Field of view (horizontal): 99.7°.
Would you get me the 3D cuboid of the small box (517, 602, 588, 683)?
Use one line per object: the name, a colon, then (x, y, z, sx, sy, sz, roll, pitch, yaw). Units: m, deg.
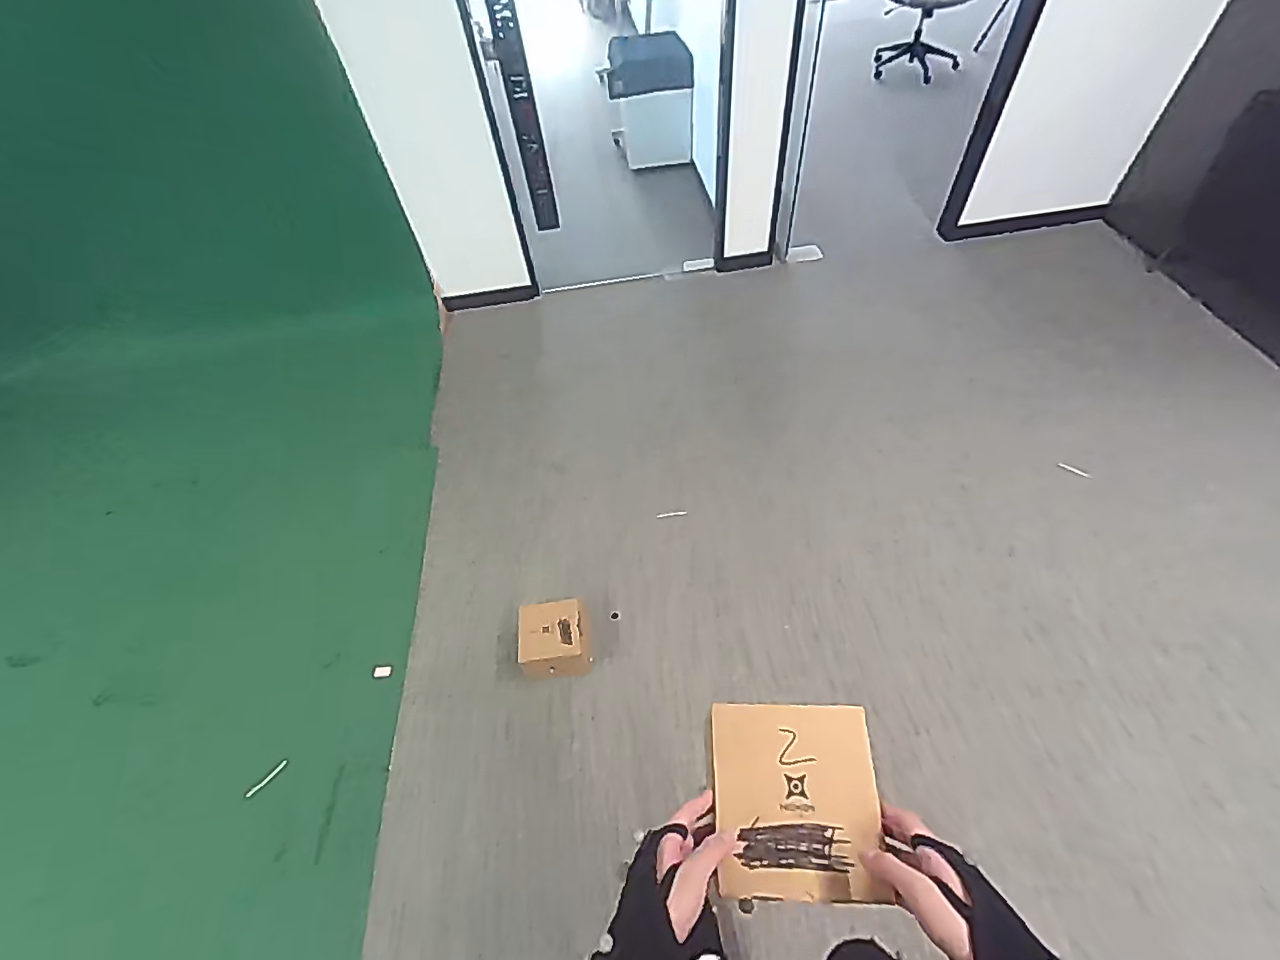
small box: (-0.246, 0.471, 1.558, 0.179, 0.176, 0.168, -8, 51, 0)
